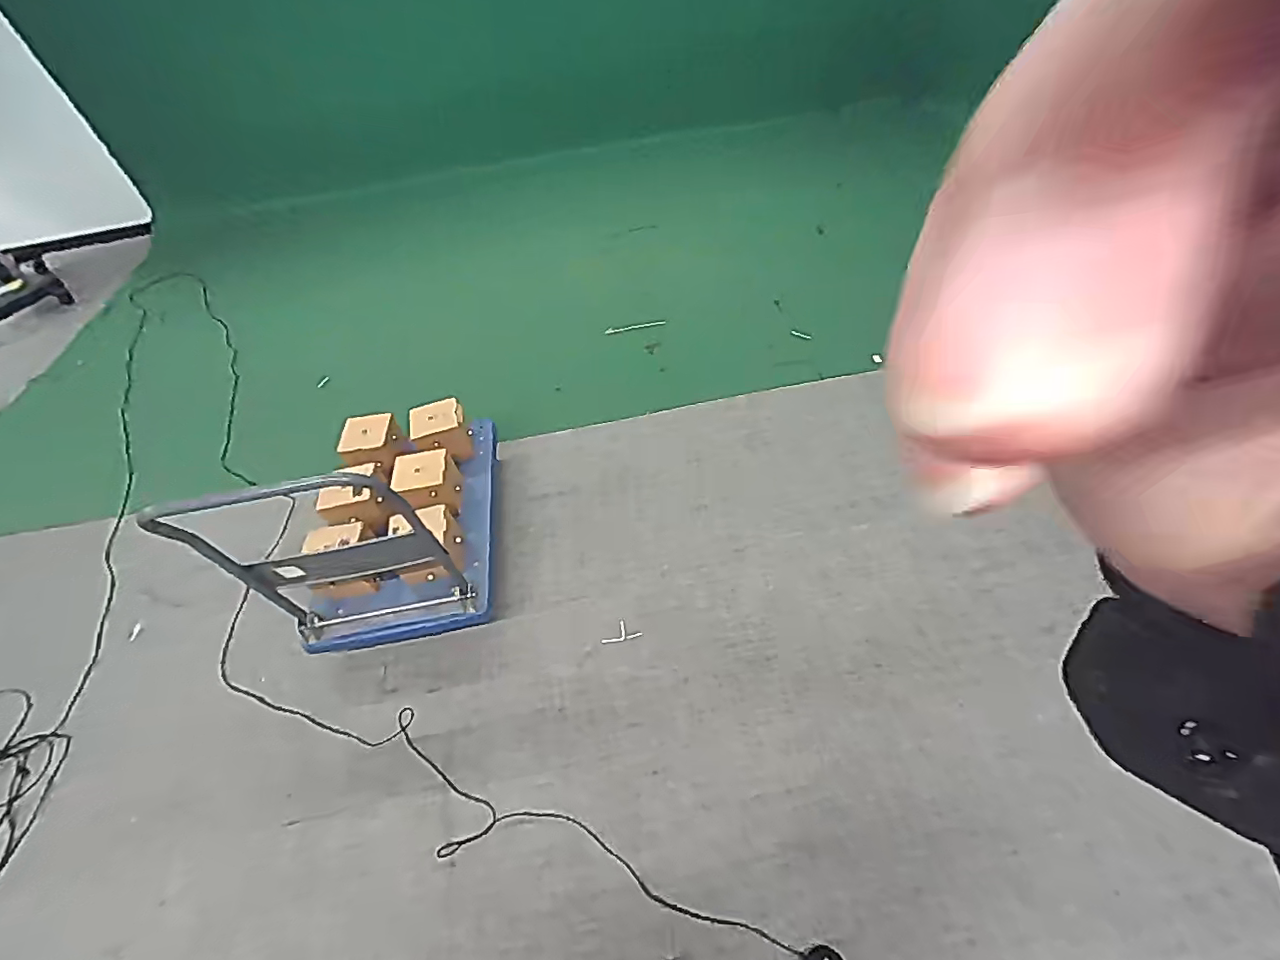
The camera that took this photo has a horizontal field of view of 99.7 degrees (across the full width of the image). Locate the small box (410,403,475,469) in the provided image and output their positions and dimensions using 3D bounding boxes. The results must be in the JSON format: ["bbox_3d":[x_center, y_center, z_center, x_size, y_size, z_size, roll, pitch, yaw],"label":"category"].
[{"bbox_3d":[-0.731,-0.158,2.017,0.179,0.176,0.168,-10,53,-2],"label":"small box"}]

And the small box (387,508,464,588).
[{"bbox_3d":[-0.664,0.216,1.698,0.179,0.176,0.168,-12,50,-3],"label":"small box"}]

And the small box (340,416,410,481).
[{"bbox_3d":[-0.979,-0.109,2.014,0.168,0.176,0.179,-8,50,0],"label":"small box"}]

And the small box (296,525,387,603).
[{"bbox_3d":[-0.922,0.266,1.692,0.179,0.176,0.168,-9,49,1],"label":"small box"}]
